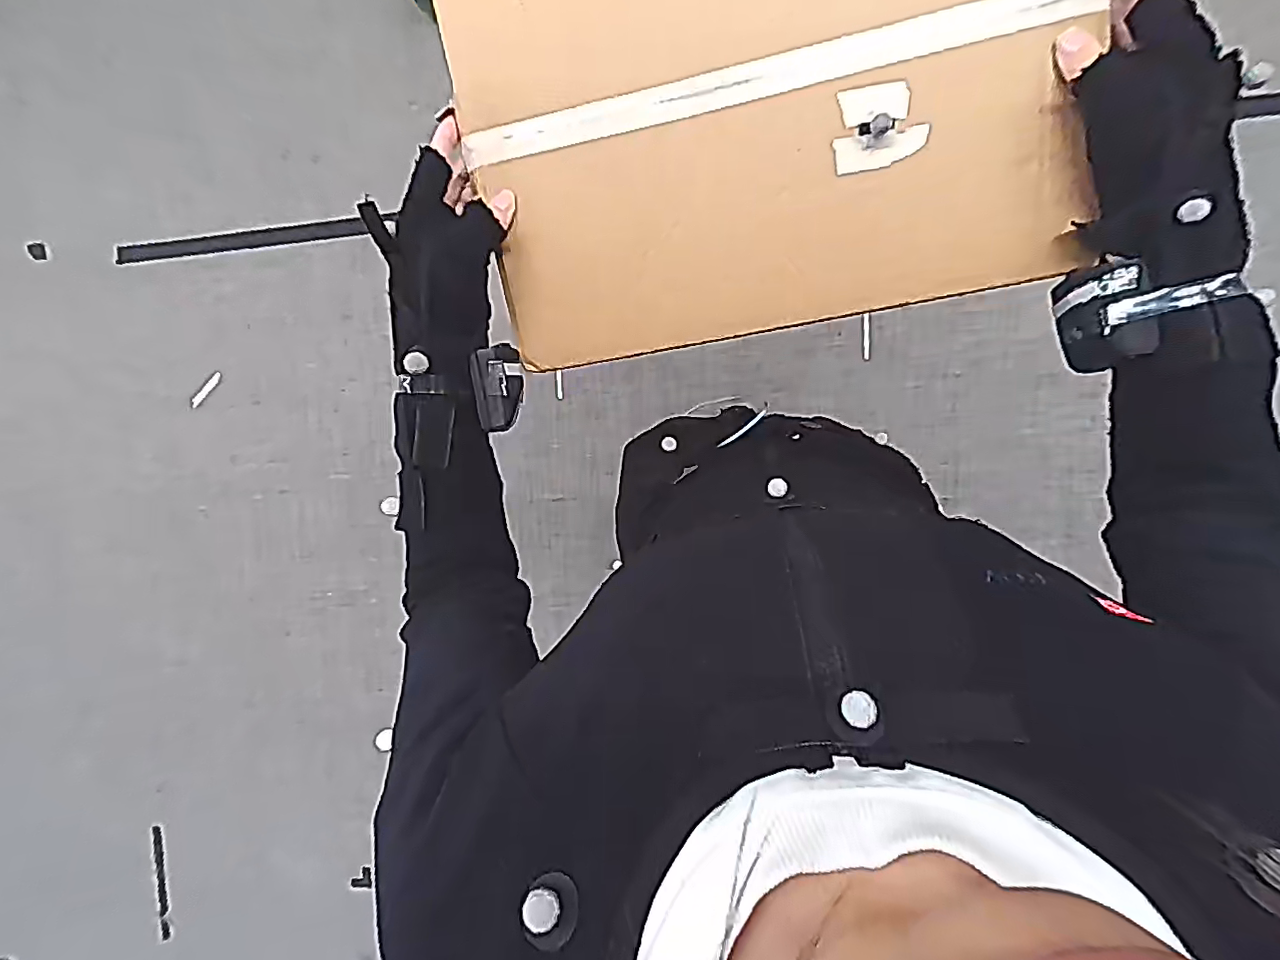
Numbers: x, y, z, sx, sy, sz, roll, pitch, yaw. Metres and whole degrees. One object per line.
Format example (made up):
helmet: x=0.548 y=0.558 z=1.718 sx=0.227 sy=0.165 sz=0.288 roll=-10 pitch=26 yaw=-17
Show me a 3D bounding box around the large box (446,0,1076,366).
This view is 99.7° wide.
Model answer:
large box: x=0.091 y=-0.307 z=0.510 sx=0.408 sy=0.320 sz=0.320 roll=-9 pitch=106 yaw=7
